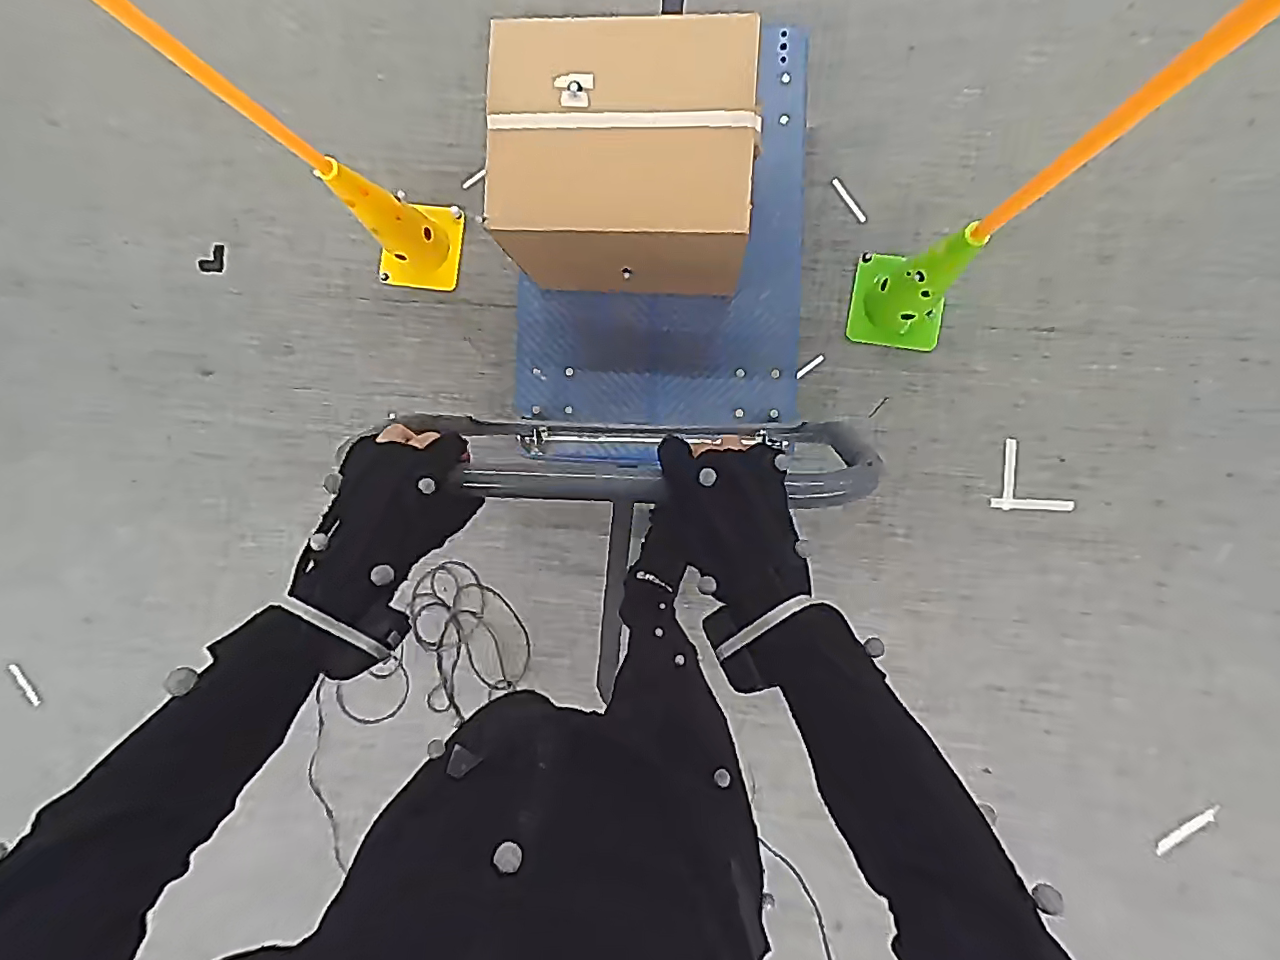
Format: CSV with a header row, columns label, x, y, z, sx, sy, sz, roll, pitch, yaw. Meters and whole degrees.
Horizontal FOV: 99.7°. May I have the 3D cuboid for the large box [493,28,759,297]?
label,x,y,z,sx,sy,sz,roll,pitch,yaw
large box,-0.009,-0.524,0.965,0.408,0.320,0.320,4,92,7

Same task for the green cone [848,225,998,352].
label,x,y,z,sx,sy,sz,roll,pitch,yaw
green cone,0.568,-0.394,1.050,0.202,0.368,0.200,9,92,5
